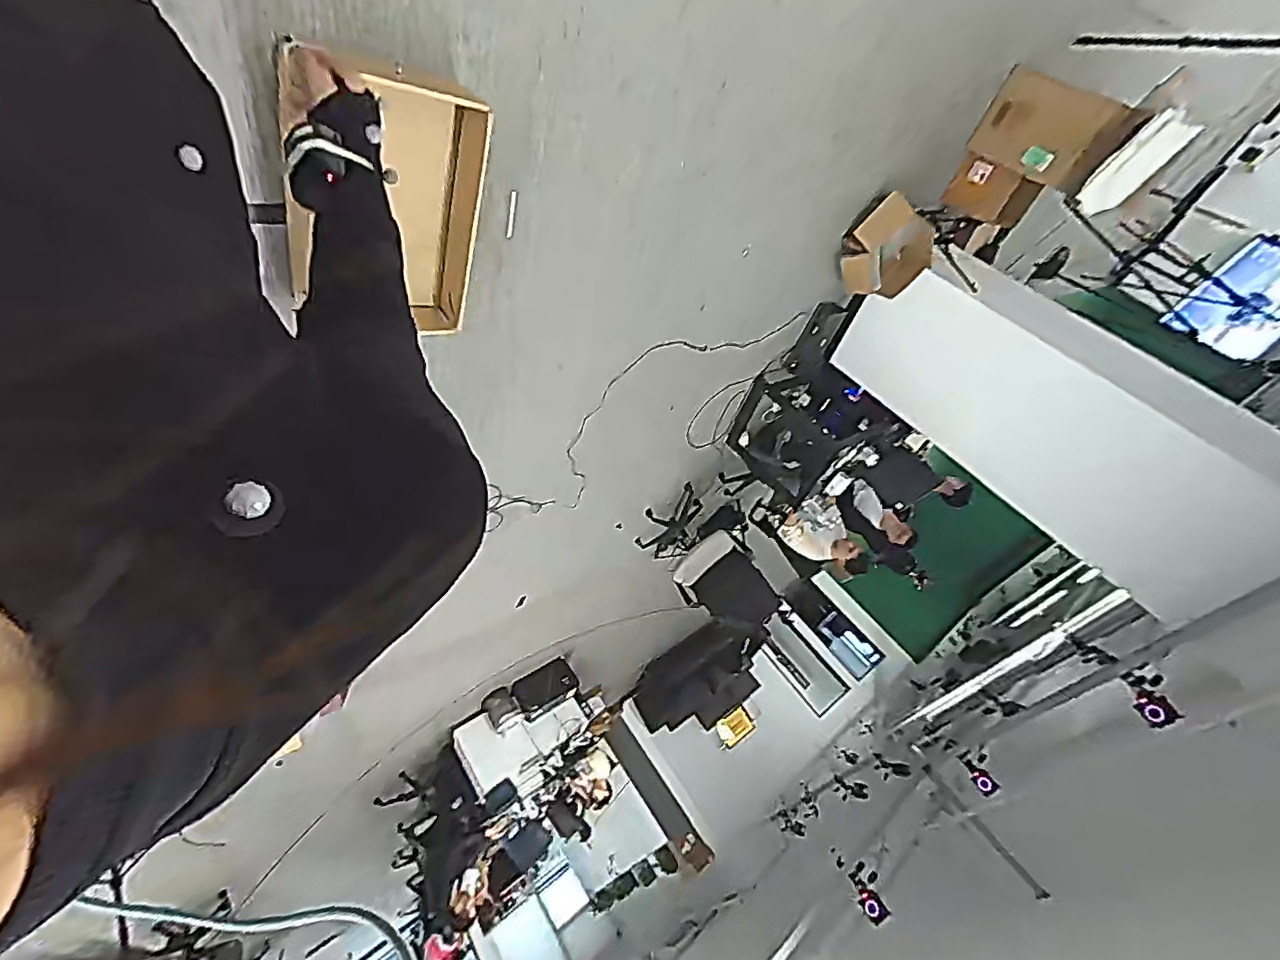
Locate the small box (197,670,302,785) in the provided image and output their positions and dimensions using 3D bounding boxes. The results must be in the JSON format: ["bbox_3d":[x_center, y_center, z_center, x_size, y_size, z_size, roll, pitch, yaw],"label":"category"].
[{"bbox_3d":[-0.943,0.590,1.311,0.168,0.176,0.179,-17,145,-38],"label":"small box"}]
